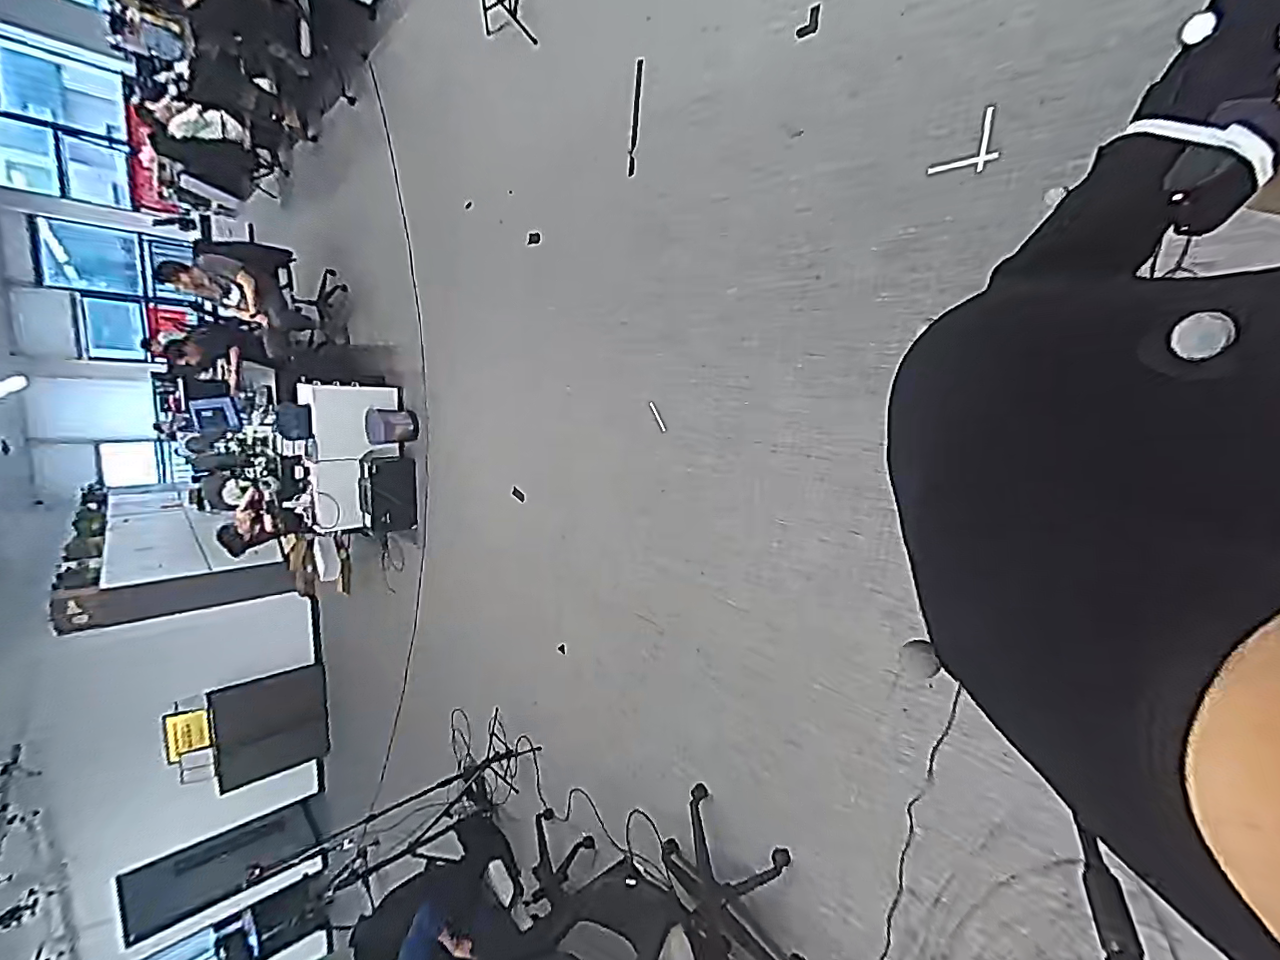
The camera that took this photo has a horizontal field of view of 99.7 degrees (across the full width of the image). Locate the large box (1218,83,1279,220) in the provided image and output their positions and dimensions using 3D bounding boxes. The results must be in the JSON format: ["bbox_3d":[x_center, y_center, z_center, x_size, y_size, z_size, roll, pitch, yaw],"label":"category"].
[{"bbox_3d":[0.702,-0.294,0.317,0.408,0.320,0.320,38,128,31],"label":"large box"}]
